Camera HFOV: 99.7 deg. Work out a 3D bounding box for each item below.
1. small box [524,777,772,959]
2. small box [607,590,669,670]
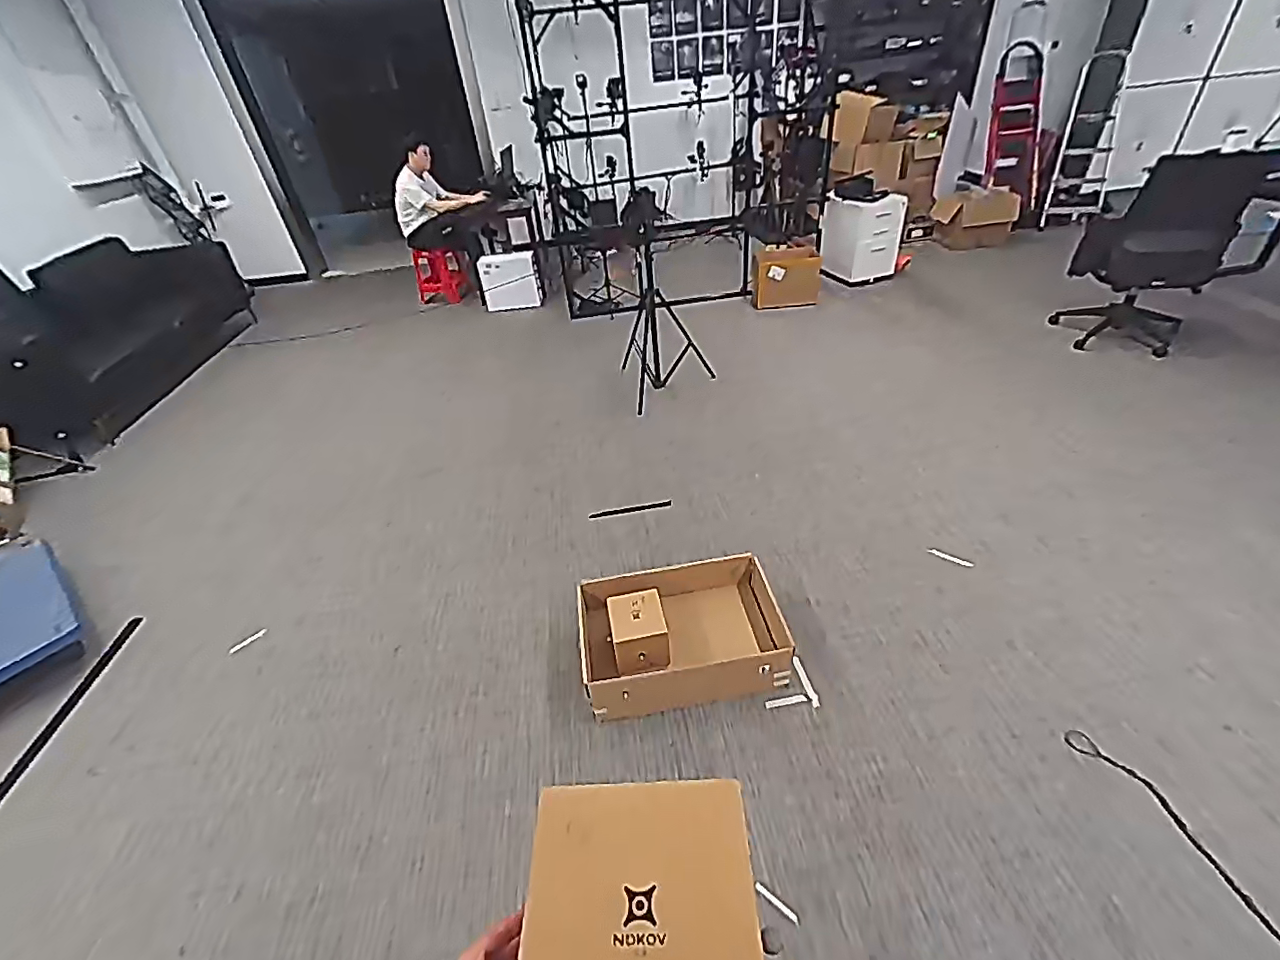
[{"bbox_3d":[0.009,0.361,0.422,0.168,0.176,0.179,-4,38,3],"label":"small box"},{"bbox_3d":[-0.005,0.478,1.703,0.168,0.176,0.179,-9,37,-5],"label":"small box"}]
